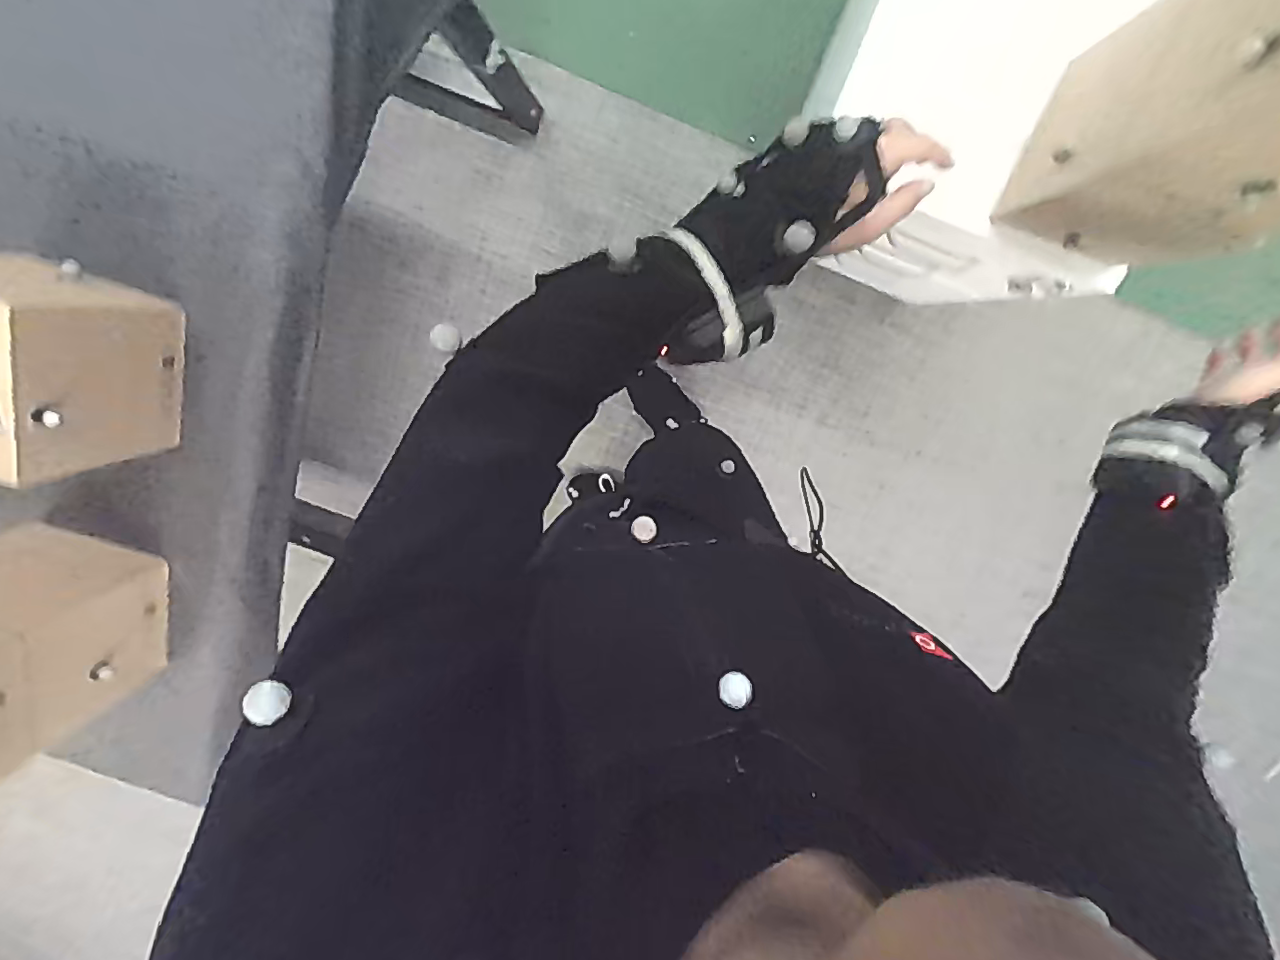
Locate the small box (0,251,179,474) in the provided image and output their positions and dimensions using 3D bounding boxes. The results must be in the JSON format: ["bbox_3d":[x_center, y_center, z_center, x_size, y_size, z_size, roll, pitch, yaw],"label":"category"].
[{"bbox_3d":[-0.607,-0.122,0.521,0.179,0.176,0.168,19,106,-2],"label":"small box"}]

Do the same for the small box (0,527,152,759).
[{"bbox_3d":[-0.709,0.171,0.614,0.179,0.176,0.168,17,107,-1],"label":"small box"}]
